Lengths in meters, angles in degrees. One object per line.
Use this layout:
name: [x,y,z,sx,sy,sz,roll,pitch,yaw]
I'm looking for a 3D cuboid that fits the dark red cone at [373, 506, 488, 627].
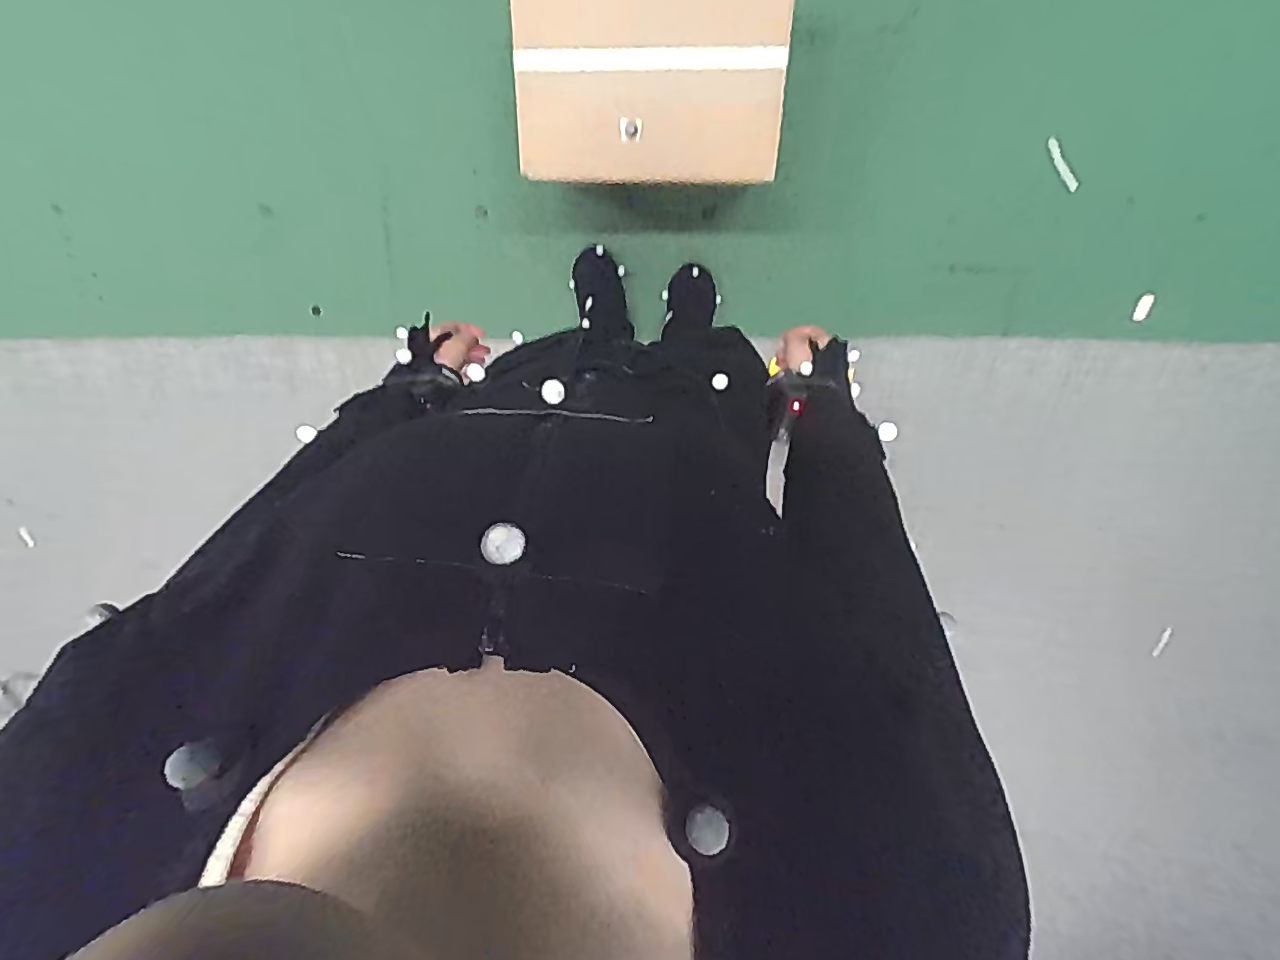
dark red cone: [-0.547,0.231,1.359,0.202,0.394,0.201,-5,113,8]
